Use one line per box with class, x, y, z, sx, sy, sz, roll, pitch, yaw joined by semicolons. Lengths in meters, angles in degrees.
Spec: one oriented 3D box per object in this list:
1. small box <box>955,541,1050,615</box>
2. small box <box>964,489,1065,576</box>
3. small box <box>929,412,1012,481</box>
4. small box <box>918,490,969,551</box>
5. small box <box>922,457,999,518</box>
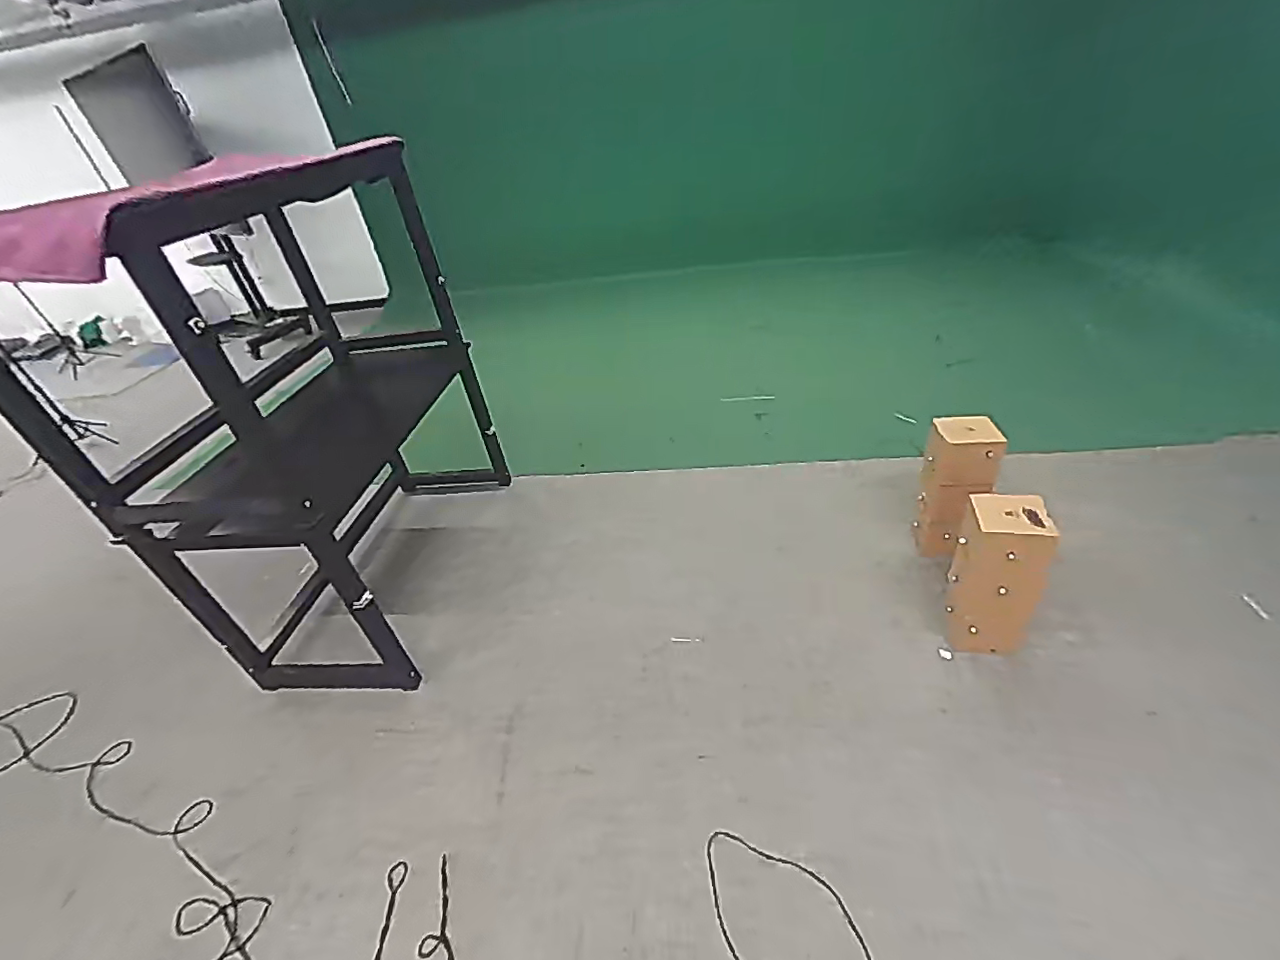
small box;1.043;0.275;1.571;0.179;0.176;0.168;1;38;16
small box;1.011;0.144;1.477;0.179;0.176;0.168;1;38;18
small box;1.090;-0.109;1.798;0.179;0.176;0.168;-2;35;10
small box;1.141;0.148;1.994;0.179;0.176;0.168;-1;37;13
small box;1.117;0.021;1.896;0.179;0.176;0.168;-3;35;10
